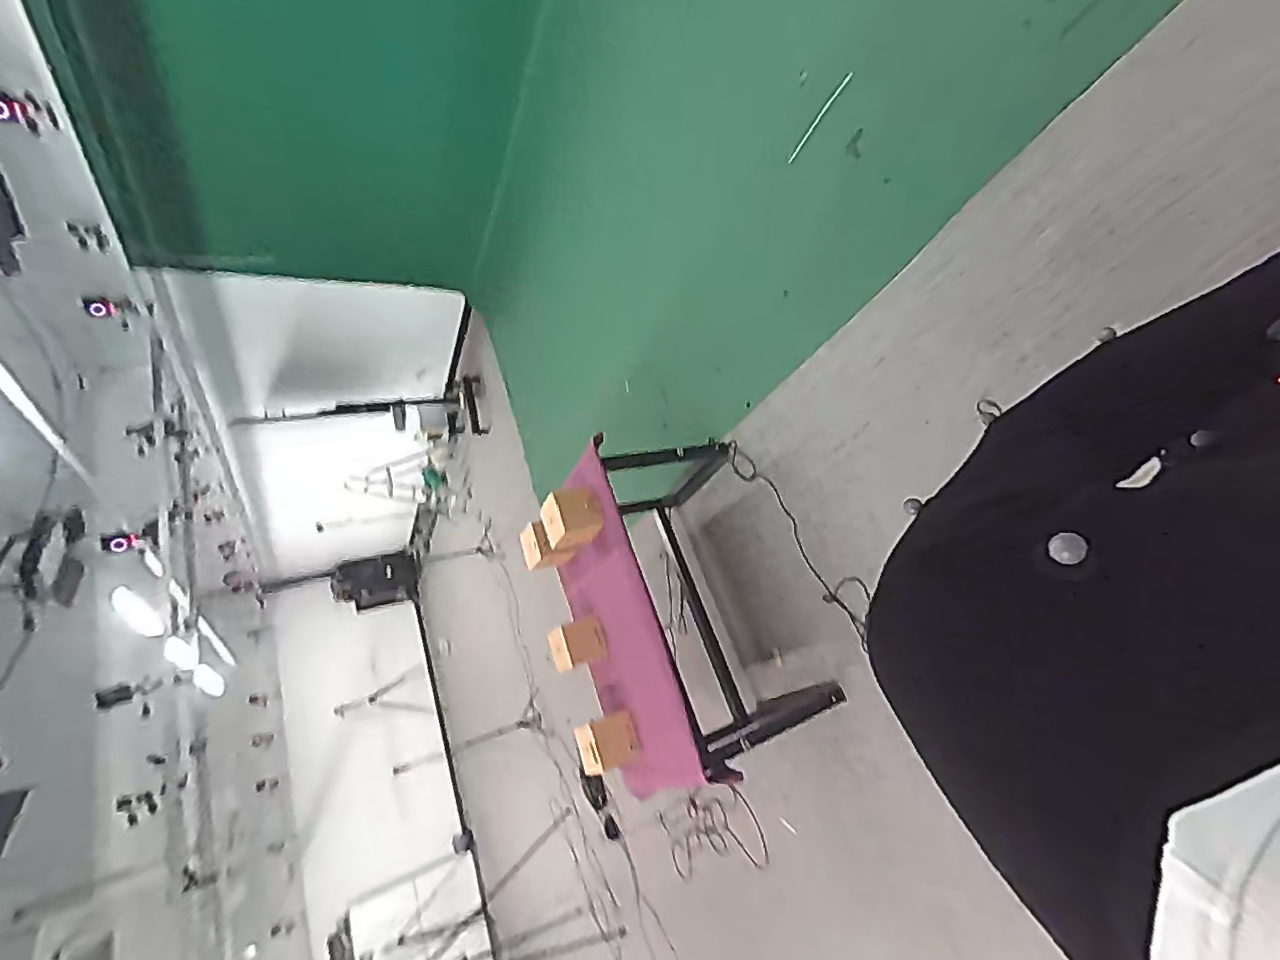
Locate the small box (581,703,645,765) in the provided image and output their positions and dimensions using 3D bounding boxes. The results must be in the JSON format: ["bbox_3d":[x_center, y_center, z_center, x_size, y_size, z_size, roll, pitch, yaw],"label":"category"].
[{"bbox_3d":[-0.098,0.969,2.069,0.179,0.176,0.168,-45,61,52],"label":"small box"}]

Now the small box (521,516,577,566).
[{"bbox_3d":[-0.391,0.253,2.321,0.179,0.176,0.168,-46,62,52],"label":"small box"}]

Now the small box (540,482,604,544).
[{"bbox_3d":[-0.261,0.124,2.076,0.179,0.176,0.168,-48,60,51],"label":"small box"}]

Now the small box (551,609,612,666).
[{"bbox_3d":[-0.237,0.642,2.198,0.179,0.176,0.168,-43,64,52],"label":"small box"}]
